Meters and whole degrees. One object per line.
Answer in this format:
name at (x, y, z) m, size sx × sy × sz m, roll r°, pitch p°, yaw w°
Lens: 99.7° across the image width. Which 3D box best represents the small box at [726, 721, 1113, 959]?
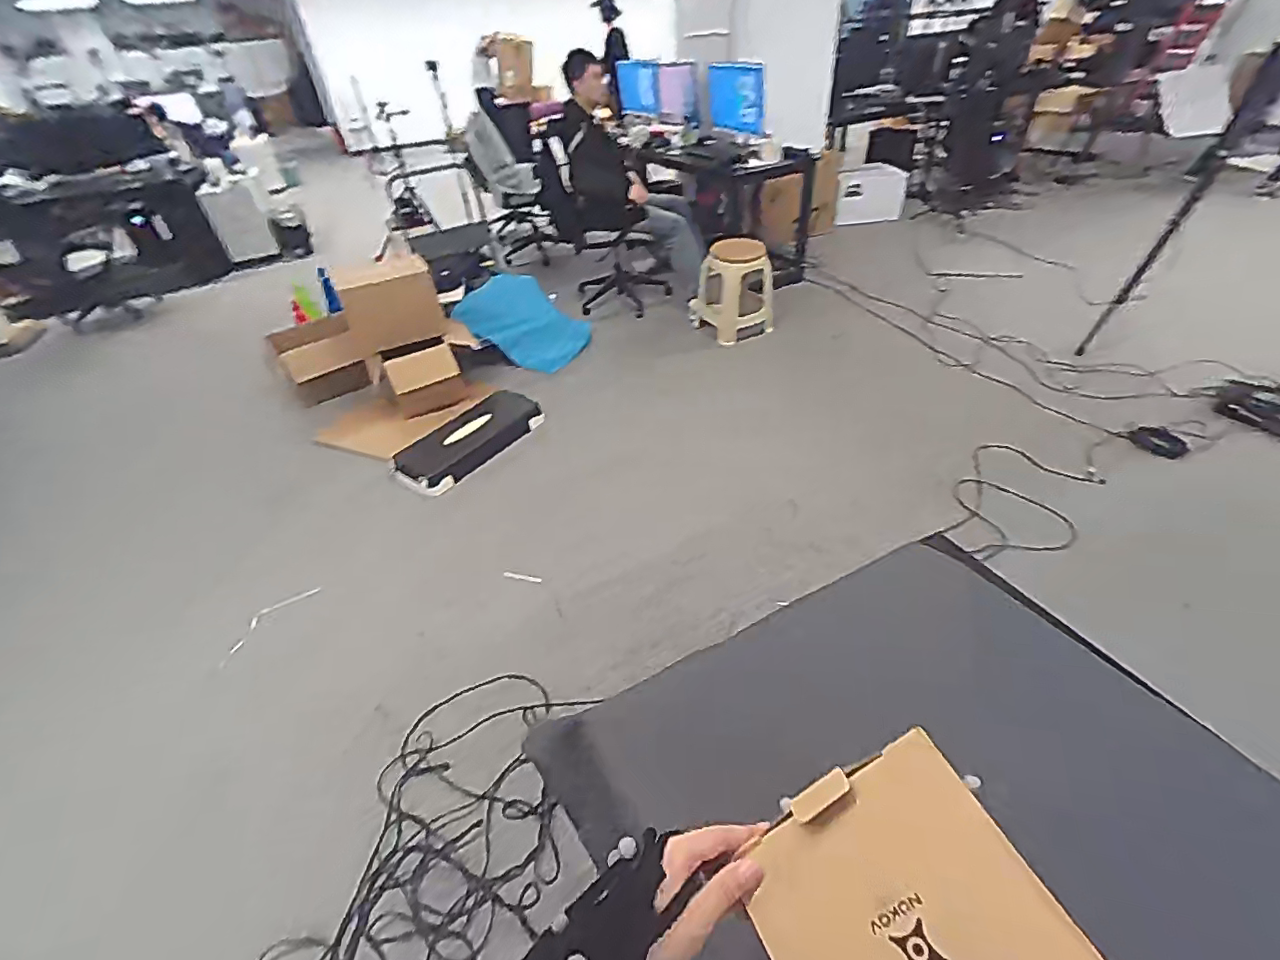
small box at (0.191, 0.302, 0.382) m, size 0.168 × 0.176 × 0.179 m, roll -38°, pitch 54°, yaw 4°
